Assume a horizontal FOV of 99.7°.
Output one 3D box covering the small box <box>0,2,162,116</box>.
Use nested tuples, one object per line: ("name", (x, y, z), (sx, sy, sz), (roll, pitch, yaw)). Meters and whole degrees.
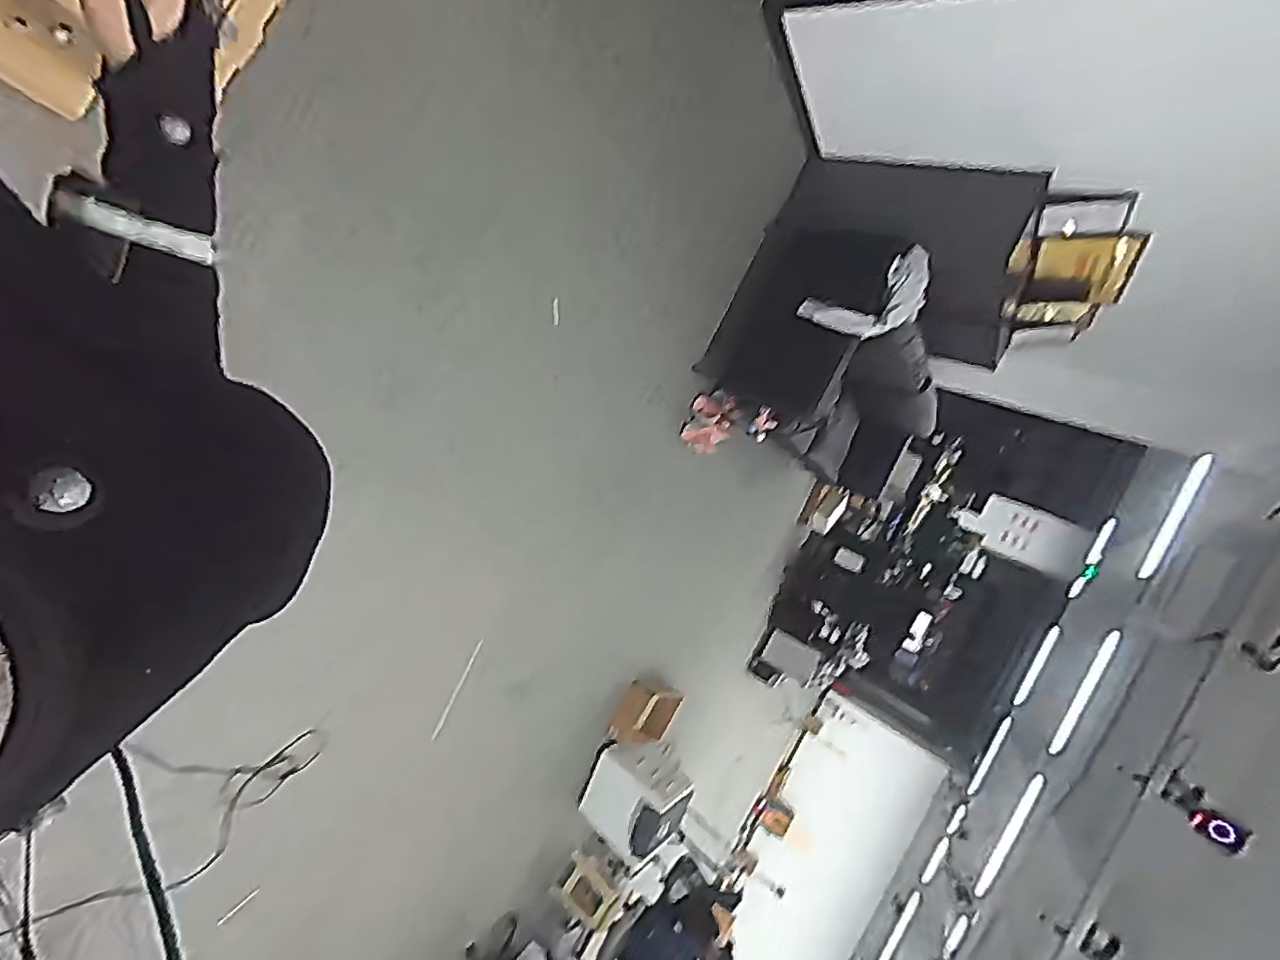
("small box", (-0.606, -0.538, 0.591), (0.168, 0.176, 0.179), (-59, 147, -1))

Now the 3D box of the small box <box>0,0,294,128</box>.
("small box", (-0.482, -0.474, 0.506), (0.168, 0.176, 0.179), (-61, 147, -3))
